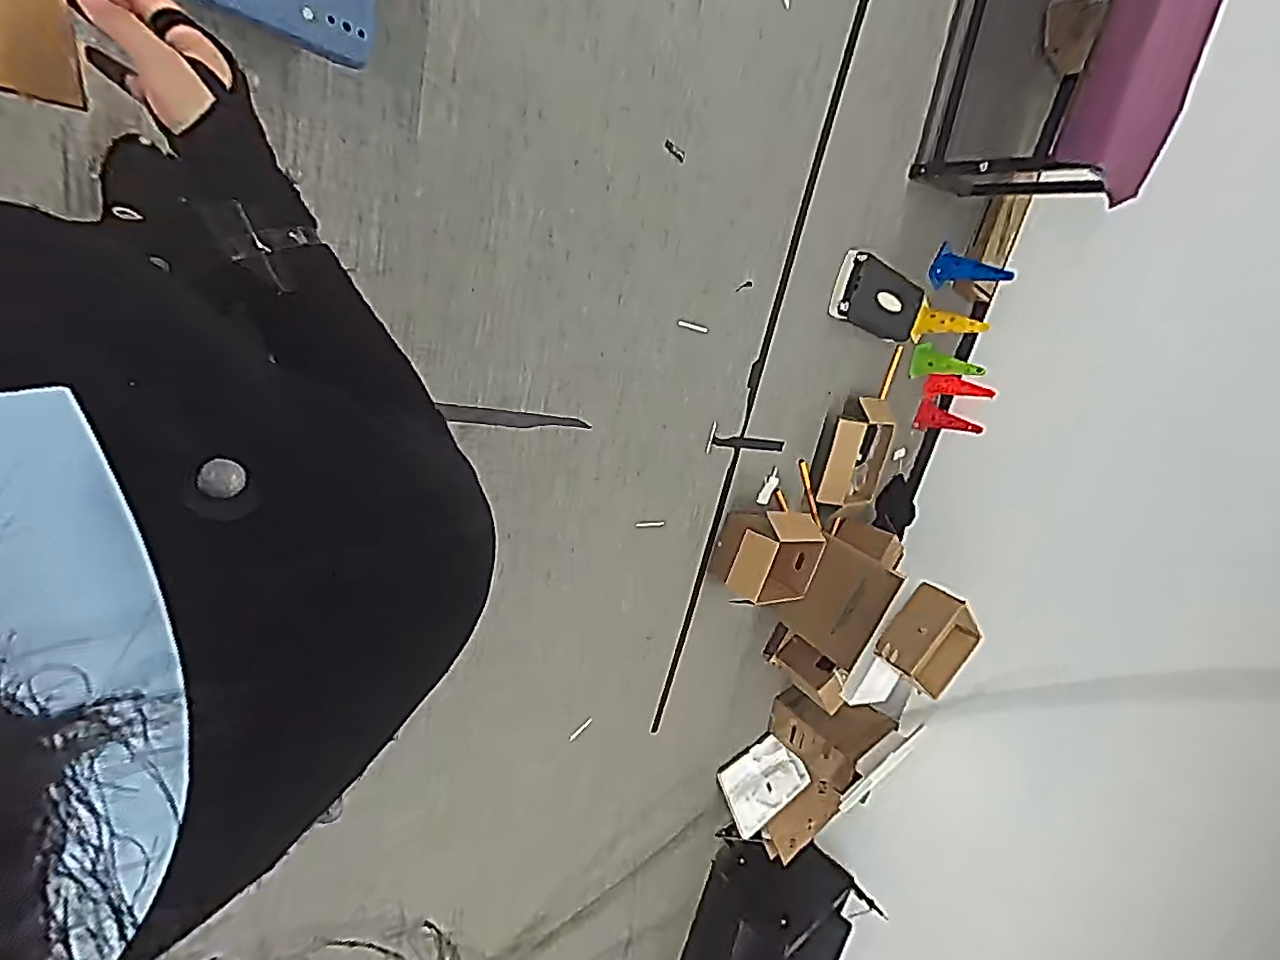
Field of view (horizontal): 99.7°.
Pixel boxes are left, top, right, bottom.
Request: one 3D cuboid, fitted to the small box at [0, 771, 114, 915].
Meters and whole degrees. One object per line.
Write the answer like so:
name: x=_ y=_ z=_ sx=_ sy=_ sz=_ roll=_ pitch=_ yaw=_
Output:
small box: x=-1.332 y=0.814 z=1.230 sx=0.168 sy=0.176 sz=0.179 roll=-14 pitch=120 yaw=-38
